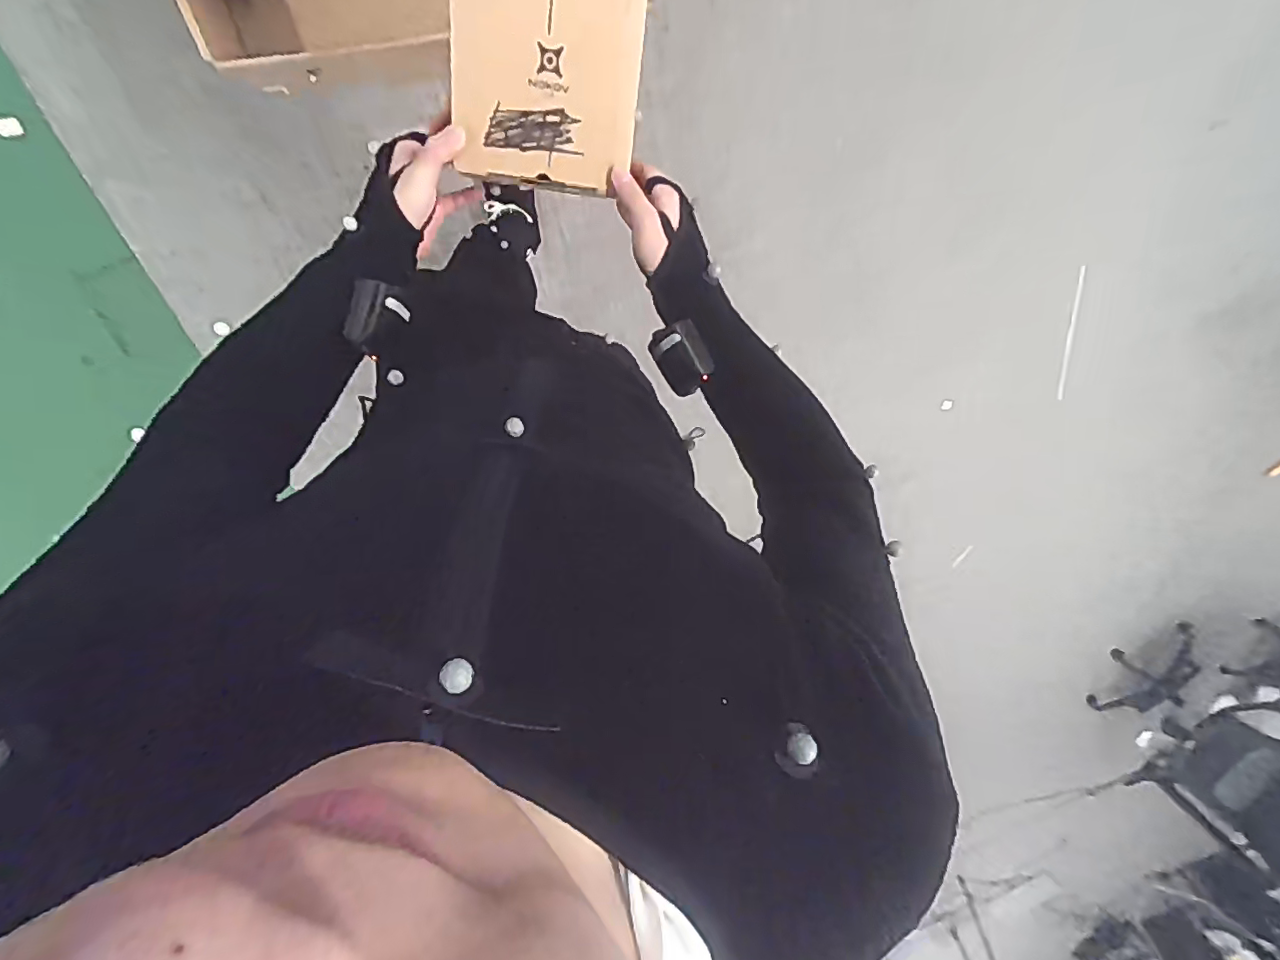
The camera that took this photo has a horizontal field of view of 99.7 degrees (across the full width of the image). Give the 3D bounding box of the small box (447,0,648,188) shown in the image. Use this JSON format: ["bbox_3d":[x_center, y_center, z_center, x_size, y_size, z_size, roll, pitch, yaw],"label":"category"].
[{"bbox_3d":[-0.096,-0.401,0.537,0.168,0.176,0.179,2,115,-14],"label":"small box"}]

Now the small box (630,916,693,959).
[{"bbox_3d":[0.078,1.536,1.720,0.168,0.176,0.179,-21,121,-1],"label":"small box"}]
